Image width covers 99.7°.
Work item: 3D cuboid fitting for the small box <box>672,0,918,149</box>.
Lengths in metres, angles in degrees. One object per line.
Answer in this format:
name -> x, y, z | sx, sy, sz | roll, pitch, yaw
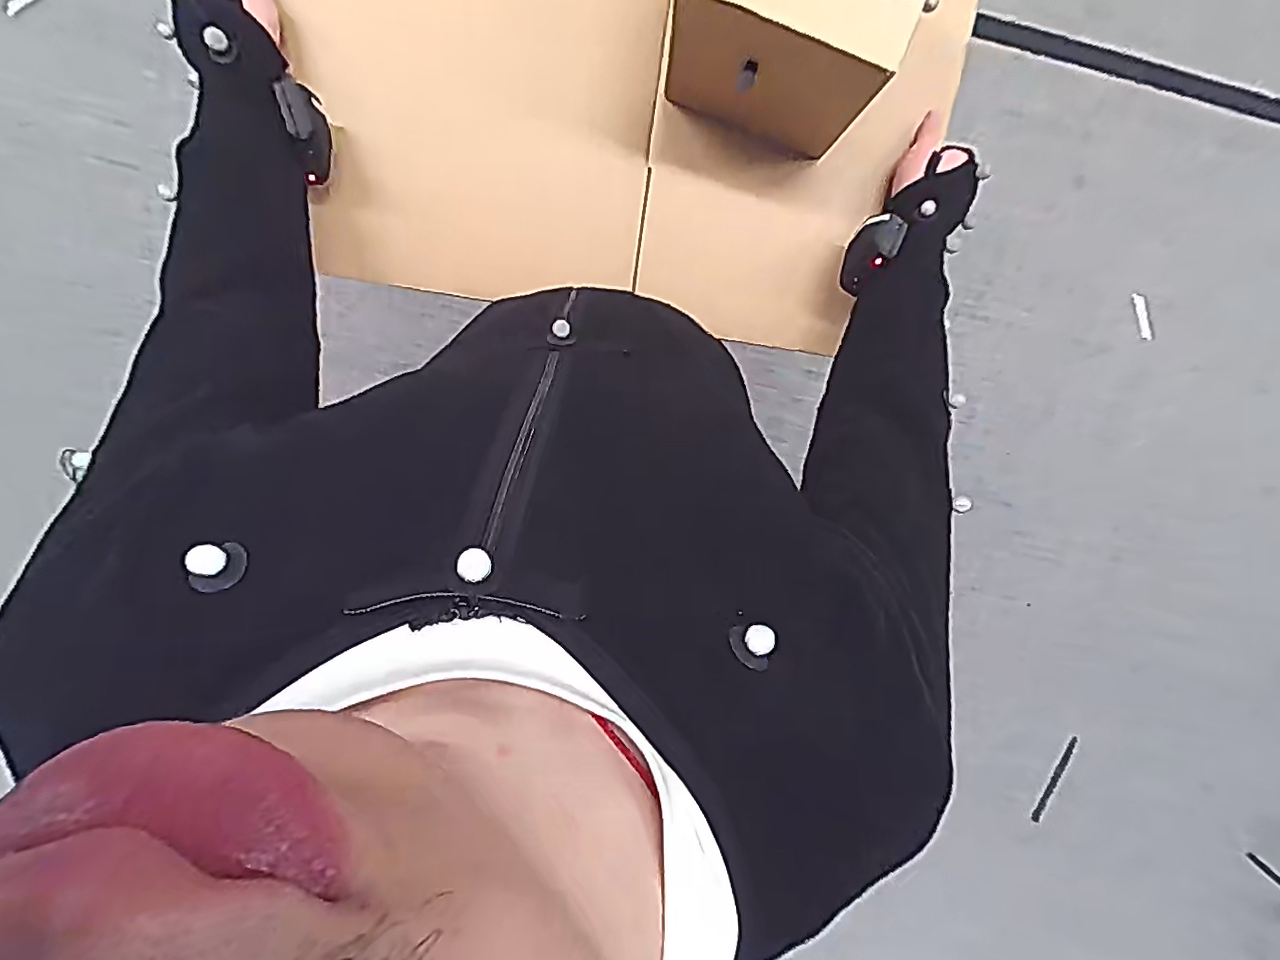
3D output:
small box -> 0.134, -0.422, 0.464 | 0.179, 0.176, 0.168 | 19, 101, -4
